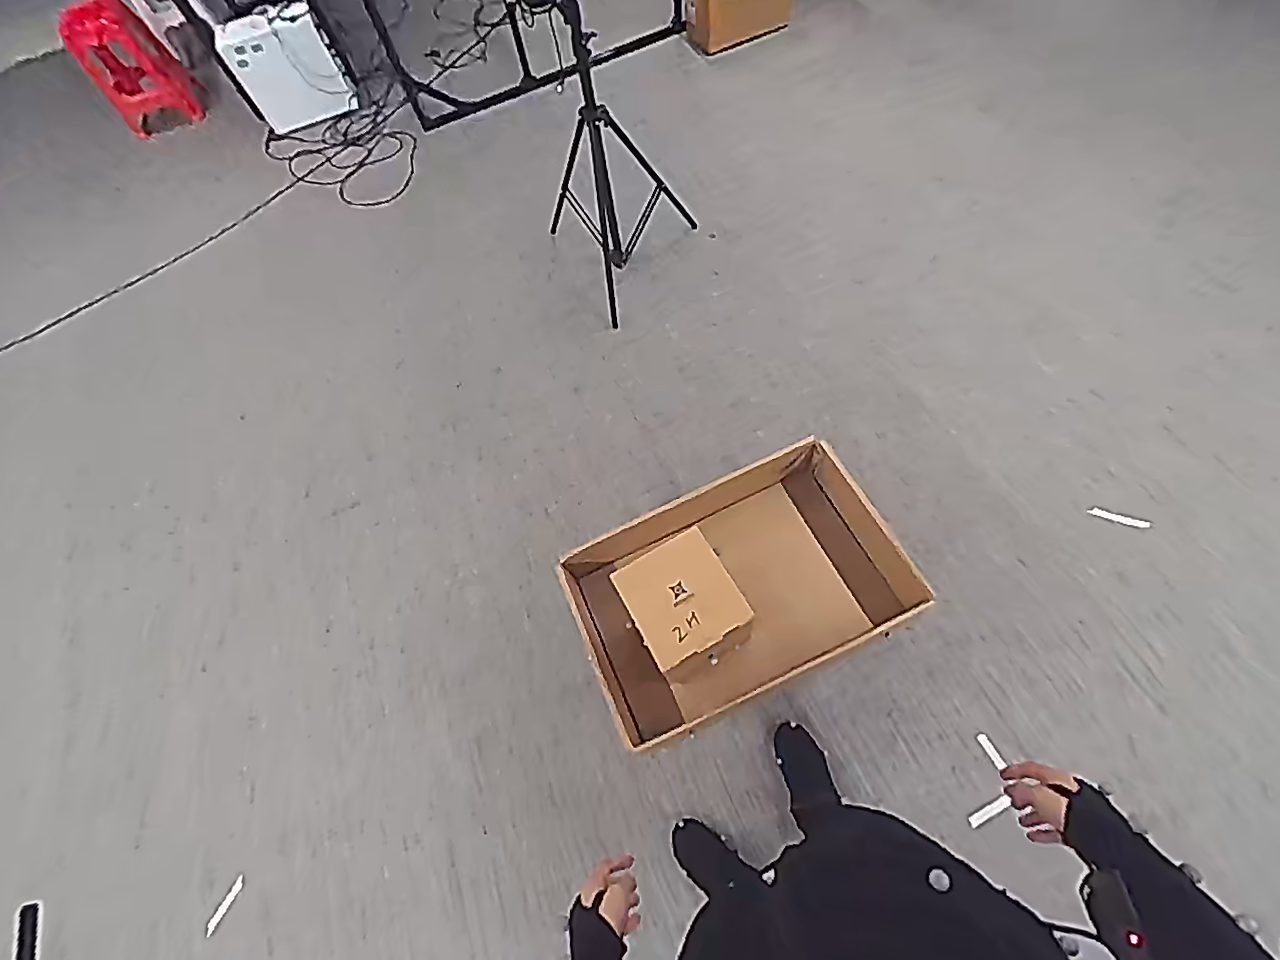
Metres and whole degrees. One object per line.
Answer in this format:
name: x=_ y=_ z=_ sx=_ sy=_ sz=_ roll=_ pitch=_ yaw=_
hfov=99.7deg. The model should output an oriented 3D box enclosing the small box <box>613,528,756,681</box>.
small box: x=0.074 y=0.215 z=0.910 sx=0.168 sy=0.176 sz=0.179 roll=-30 pitch=64 yaw=-6
